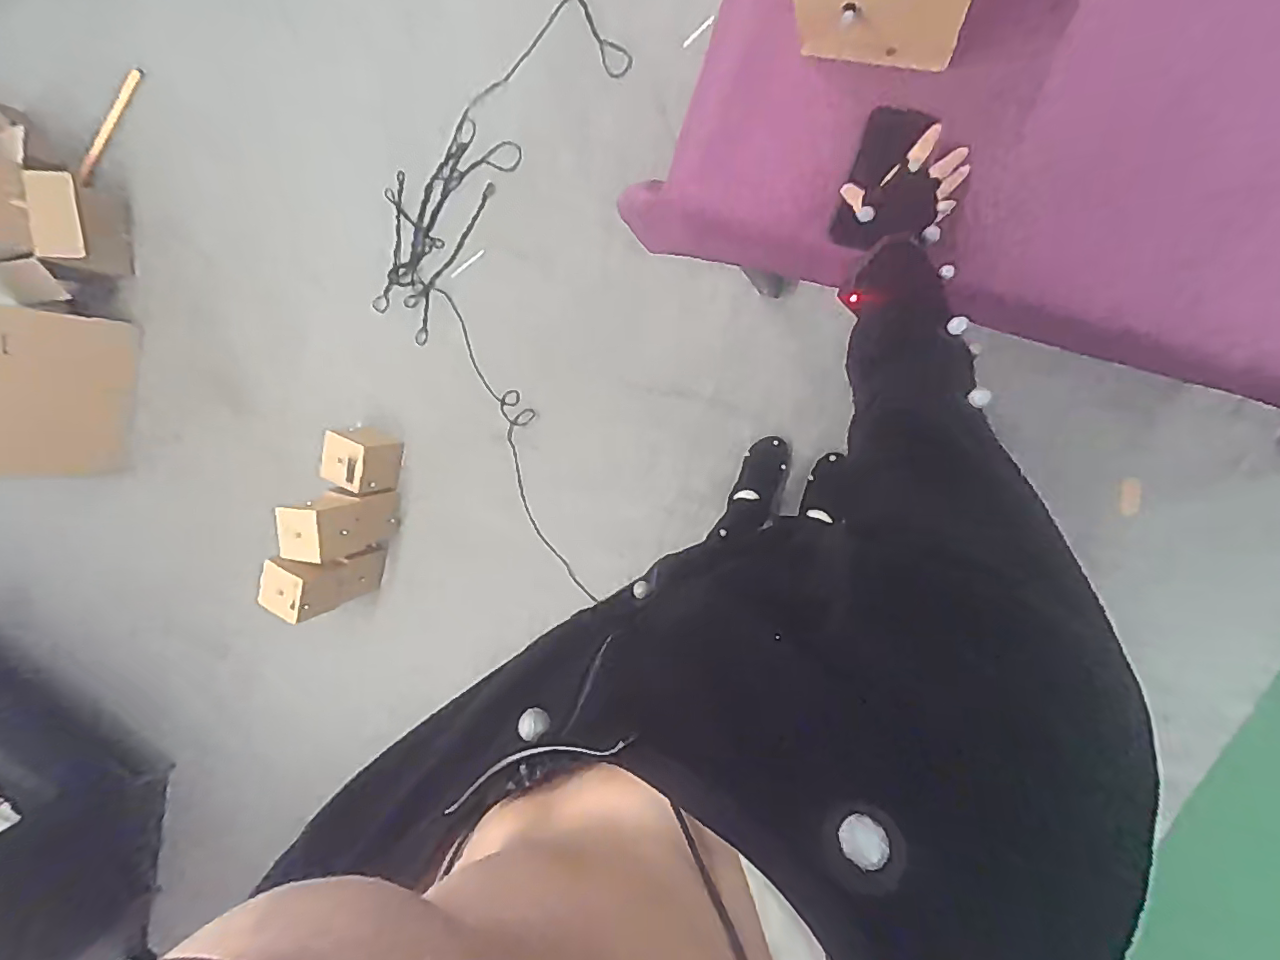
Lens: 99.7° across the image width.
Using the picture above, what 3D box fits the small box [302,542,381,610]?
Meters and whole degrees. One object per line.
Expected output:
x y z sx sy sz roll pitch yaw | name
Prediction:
-1.050 0.323 1.911 0.168 0.176 0.179 22 105 17 | small box

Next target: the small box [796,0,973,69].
0.260 -0.546 0.528 0.168 0.176 0.179 21 103 17 | small box

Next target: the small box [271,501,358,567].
-1.014 0.164 1.701 0.179 0.176 0.168 4 99 21 | small box
